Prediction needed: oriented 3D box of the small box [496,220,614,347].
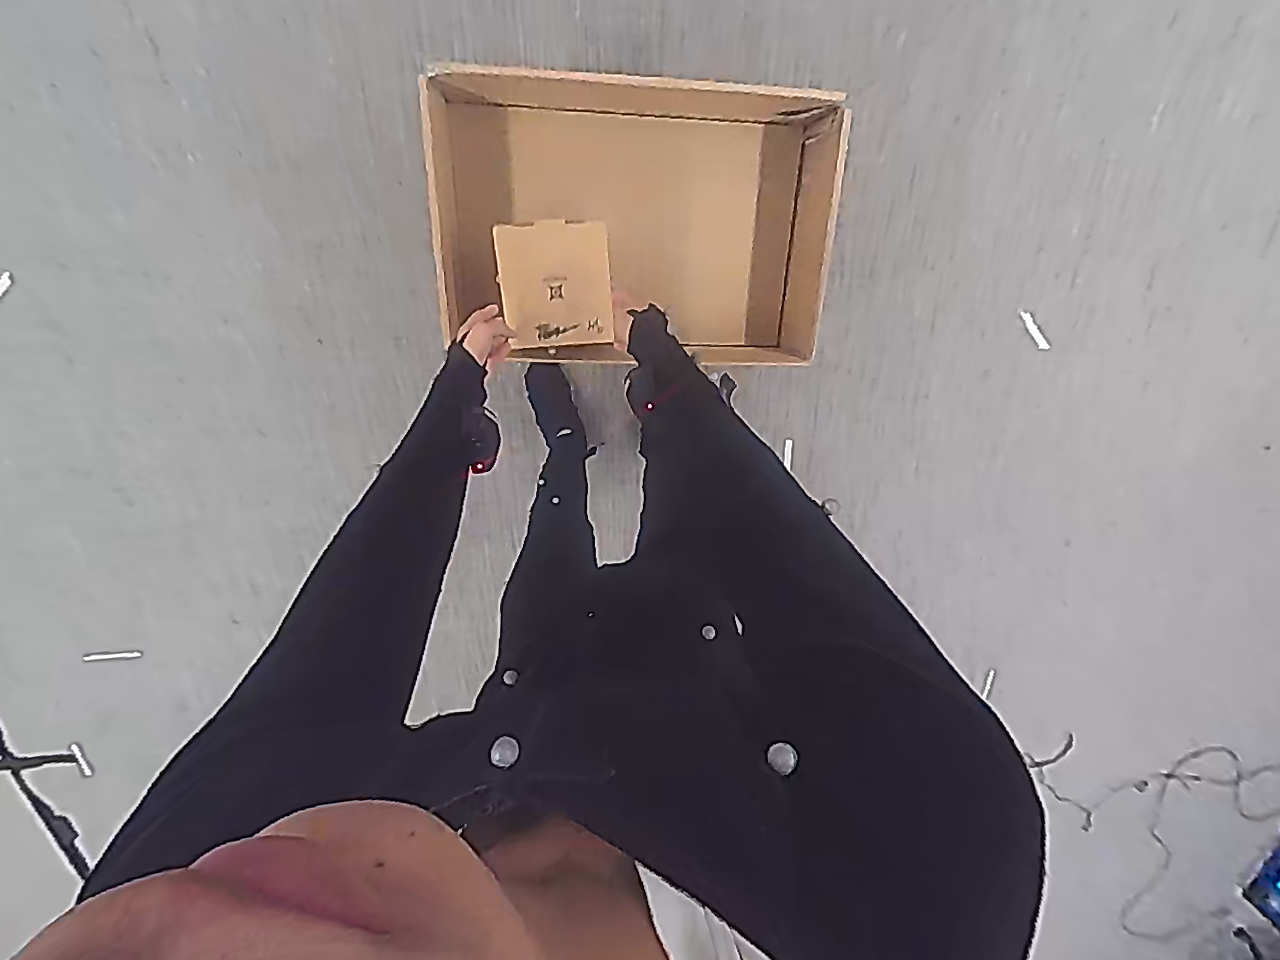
[{"bbox_3d":[-0.135,-0.321,0.888,0.168,0.176,0.179,-5,112,-5],"label":"small box"}]
